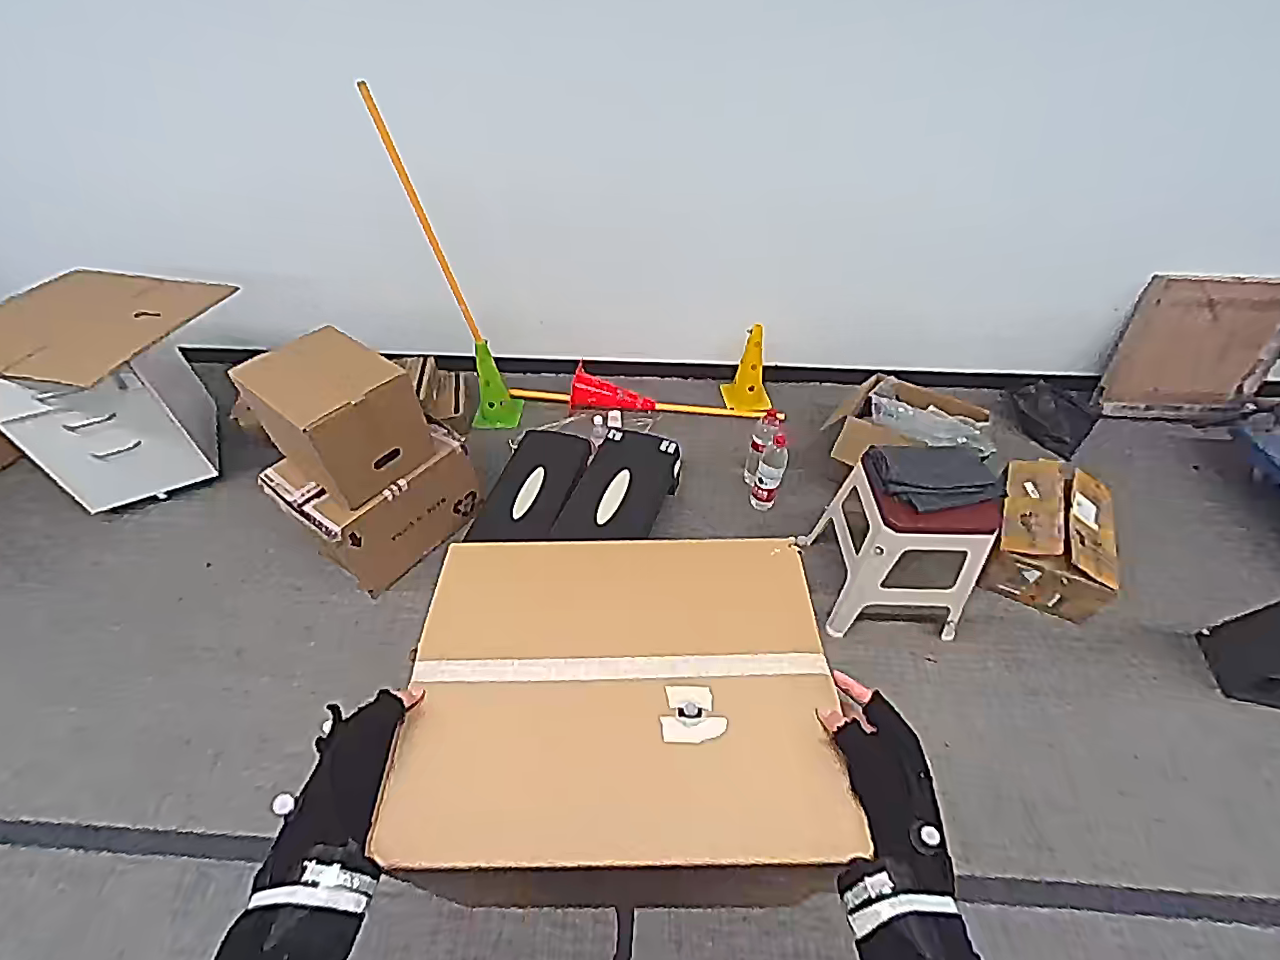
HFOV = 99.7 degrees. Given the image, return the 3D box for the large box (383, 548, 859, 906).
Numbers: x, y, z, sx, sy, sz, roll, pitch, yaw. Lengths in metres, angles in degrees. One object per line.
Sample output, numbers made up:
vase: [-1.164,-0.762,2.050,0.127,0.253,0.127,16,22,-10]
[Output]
large box: [-0.018,0.298,0.652,0.408,0.320,0.320,0,48,0]
